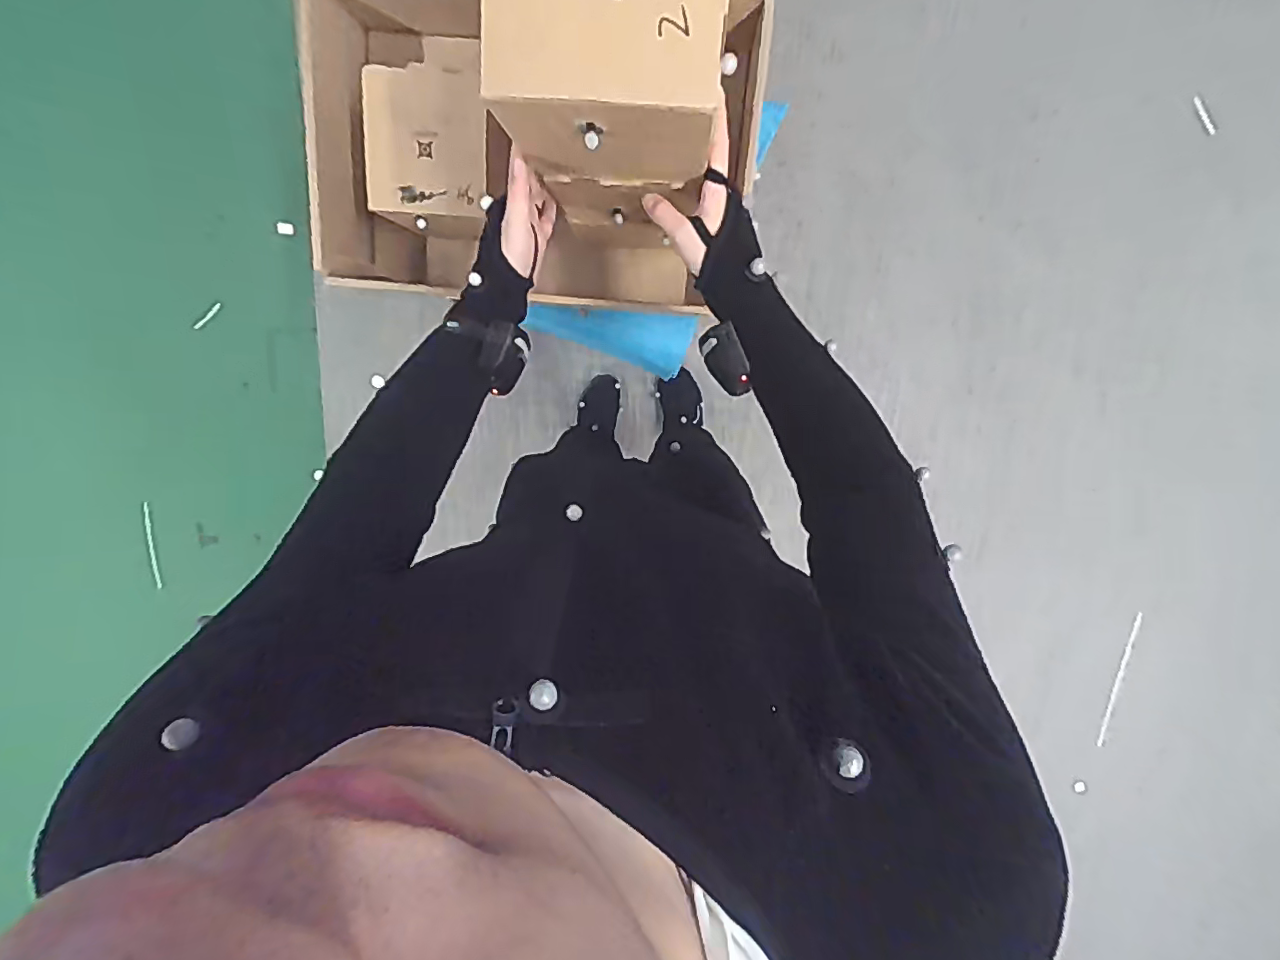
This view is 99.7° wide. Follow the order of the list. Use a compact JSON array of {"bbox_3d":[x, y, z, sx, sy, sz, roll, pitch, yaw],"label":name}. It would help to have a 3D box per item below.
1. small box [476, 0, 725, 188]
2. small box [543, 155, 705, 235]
[{"bbox_3d":[-0.022,-0.363,0.454,0.179,0.176,0.168,5,102,1],"label":"small box"},{"bbox_3d":[-0.010,-0.397,0.616,0.168,0.176,0.179,4,102,2],"label":"small box"}]
